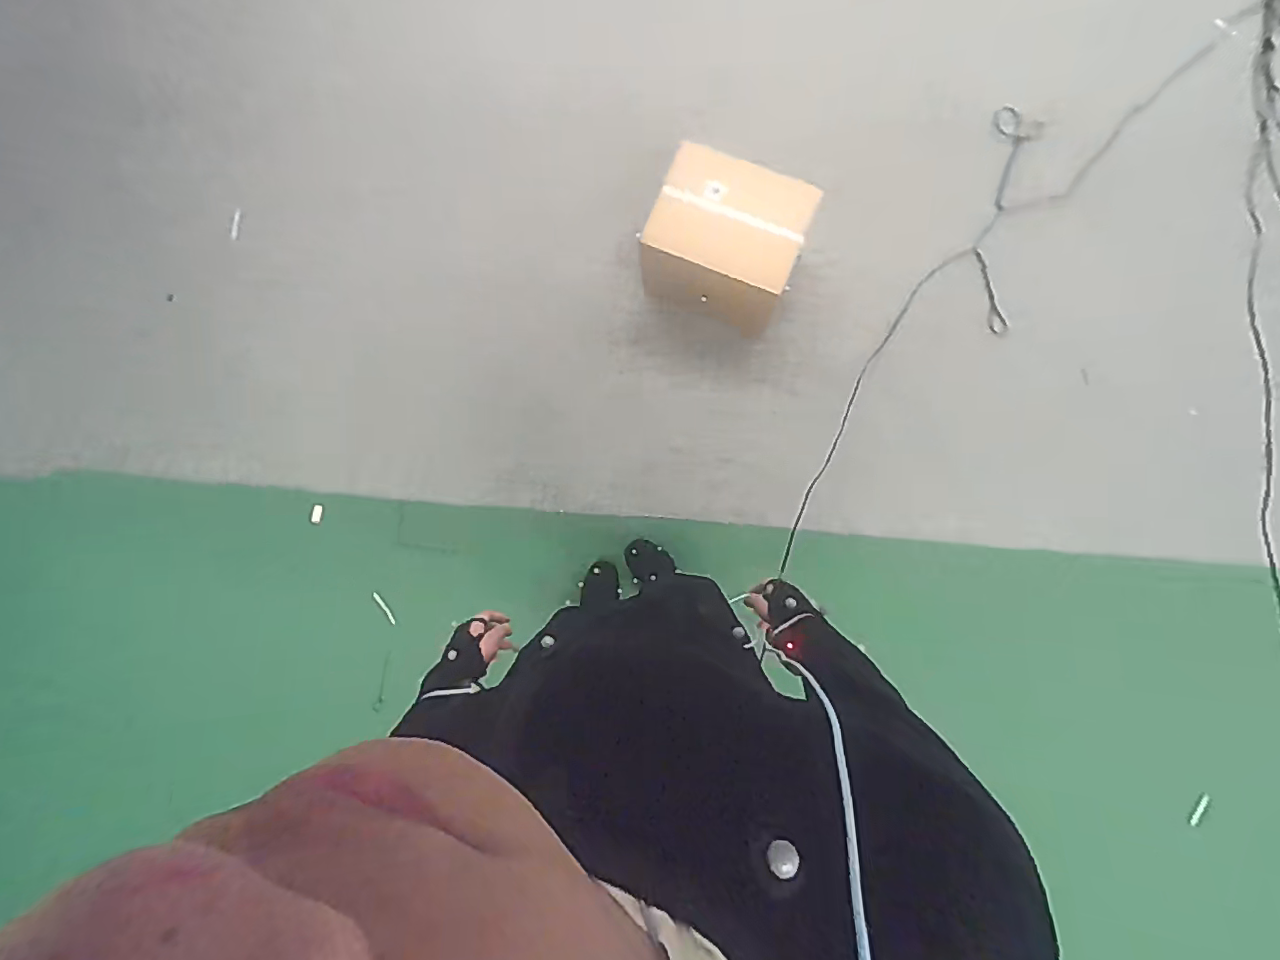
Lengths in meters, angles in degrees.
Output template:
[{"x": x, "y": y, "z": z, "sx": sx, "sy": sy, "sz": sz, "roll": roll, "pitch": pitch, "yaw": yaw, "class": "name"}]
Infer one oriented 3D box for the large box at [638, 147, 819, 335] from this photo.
[{"x": 0.246, "y": -0.673, "z": 1.572, "sx": 0.408, "sy": 0.320, "sz": 0.320, "roll": 23, "pitch": 86, "yaw": 7, "class": "large box"}]
